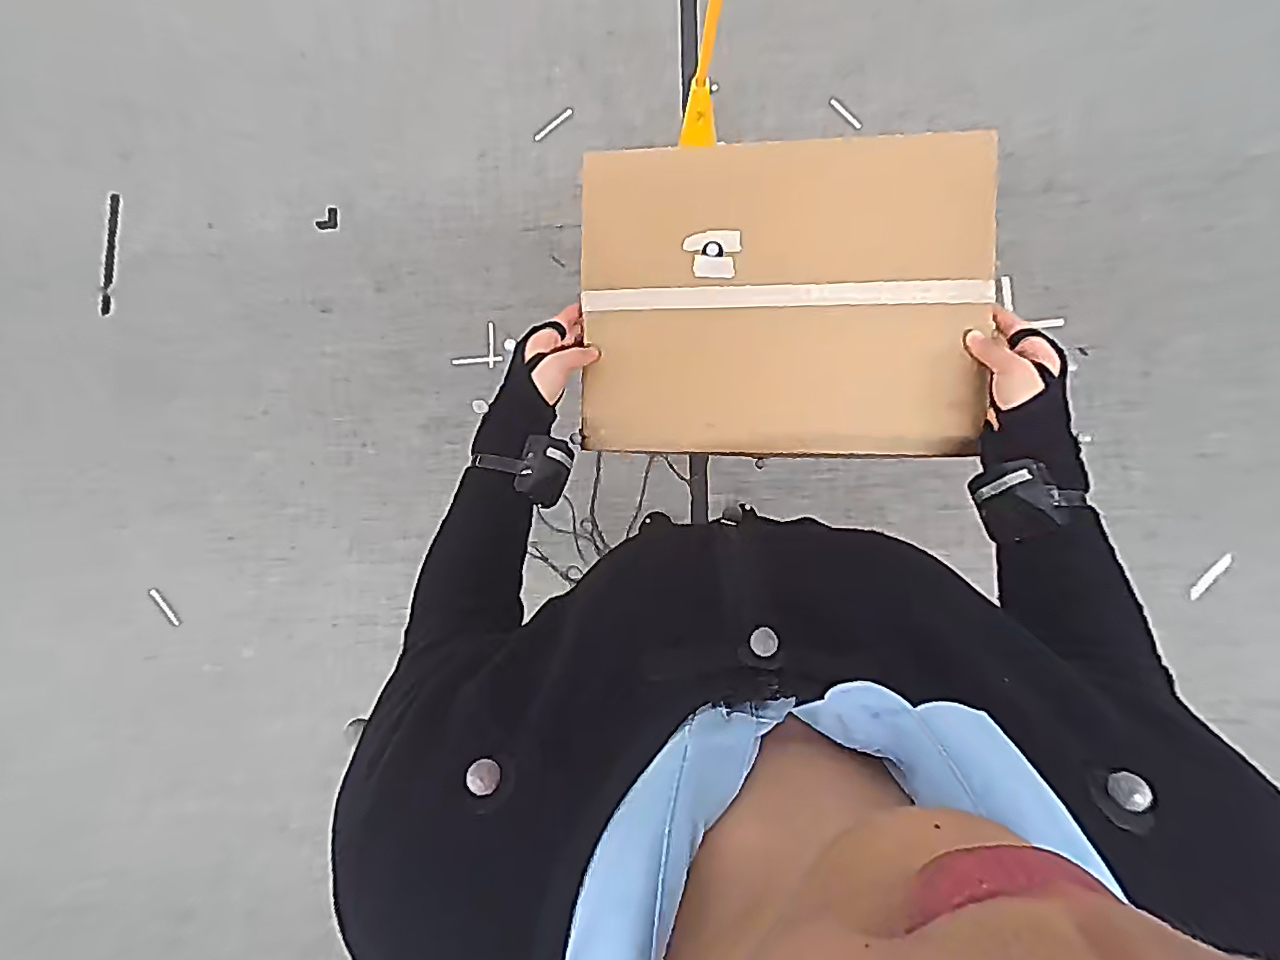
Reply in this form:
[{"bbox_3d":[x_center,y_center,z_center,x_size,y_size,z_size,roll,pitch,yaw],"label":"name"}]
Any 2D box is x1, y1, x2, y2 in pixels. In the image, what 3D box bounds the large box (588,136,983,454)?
[{"bbox_3d":[0.163,-0.191,0.708,0.408,0.320,0.320,1,91,8],"label":"large box"}]
